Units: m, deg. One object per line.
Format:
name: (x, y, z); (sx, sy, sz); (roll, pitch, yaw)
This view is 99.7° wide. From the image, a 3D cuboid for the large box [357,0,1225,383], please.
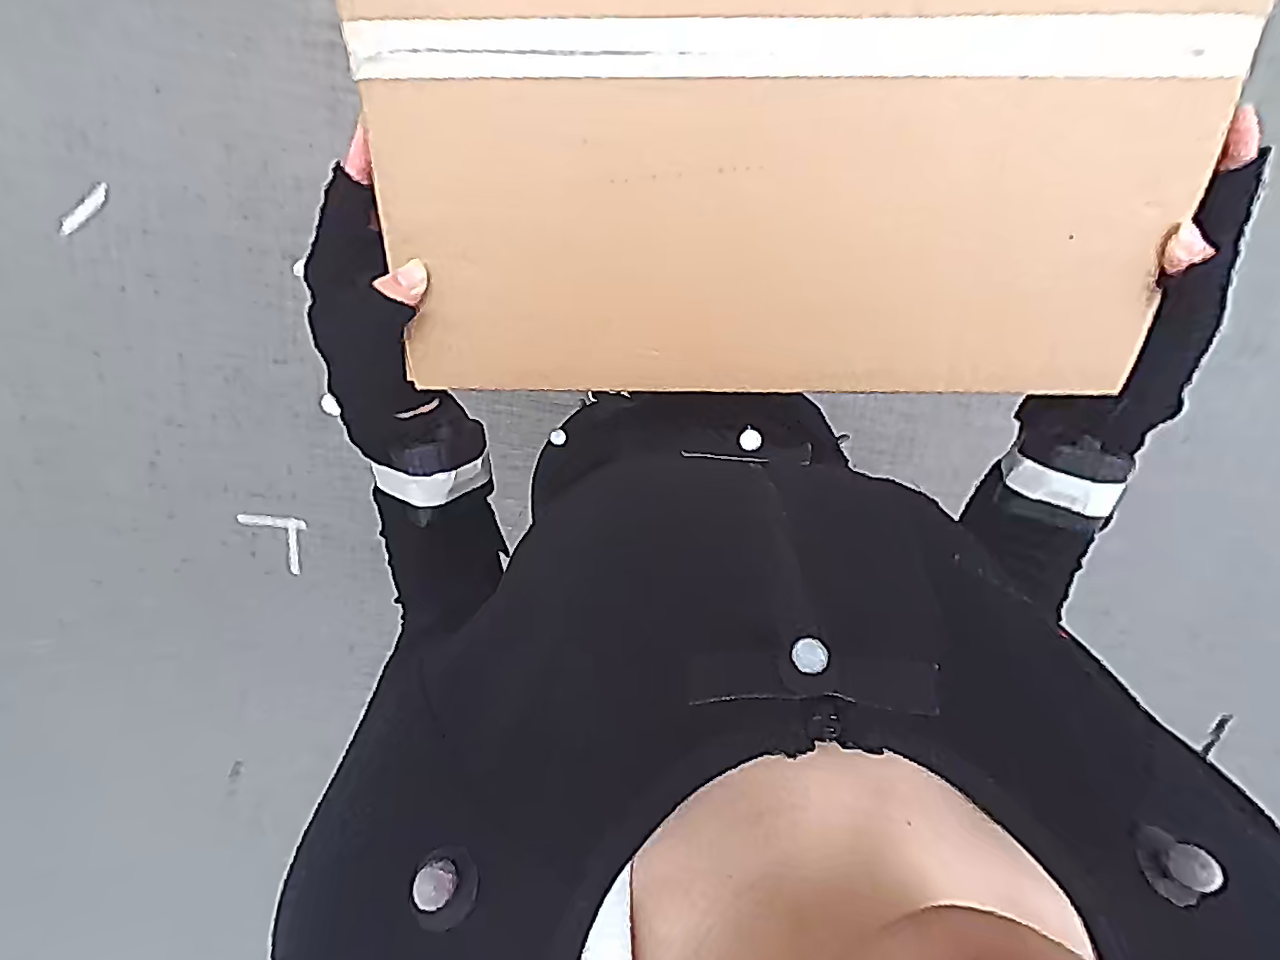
large box: (0.066, -0.262, 0.392); (0.408, 0.320, 0.320); (0, 116, 0)
